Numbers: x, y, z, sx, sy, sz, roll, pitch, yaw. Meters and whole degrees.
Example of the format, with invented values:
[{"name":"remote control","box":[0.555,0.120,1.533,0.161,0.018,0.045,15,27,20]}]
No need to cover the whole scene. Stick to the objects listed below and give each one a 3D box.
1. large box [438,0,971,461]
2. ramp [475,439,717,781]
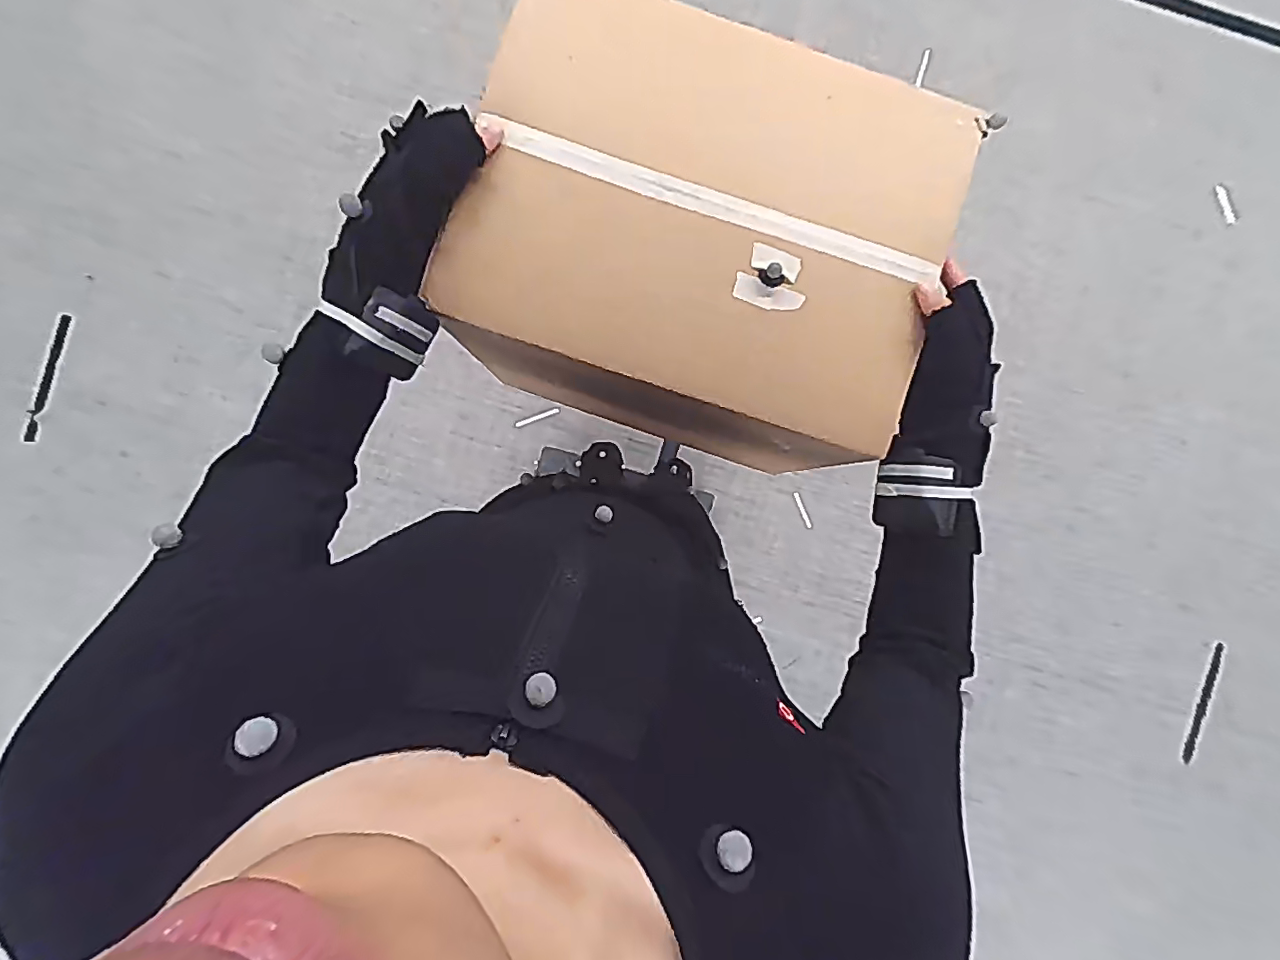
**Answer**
[{"name":"large box","box":[0.053,-0.232,0.611,0.408,0.320,0.320,18,88,-2]},{"name":"ramp","box":[-0.149,0.414,1.586,0.509,0.206,0.991,14,92,-2]}]
